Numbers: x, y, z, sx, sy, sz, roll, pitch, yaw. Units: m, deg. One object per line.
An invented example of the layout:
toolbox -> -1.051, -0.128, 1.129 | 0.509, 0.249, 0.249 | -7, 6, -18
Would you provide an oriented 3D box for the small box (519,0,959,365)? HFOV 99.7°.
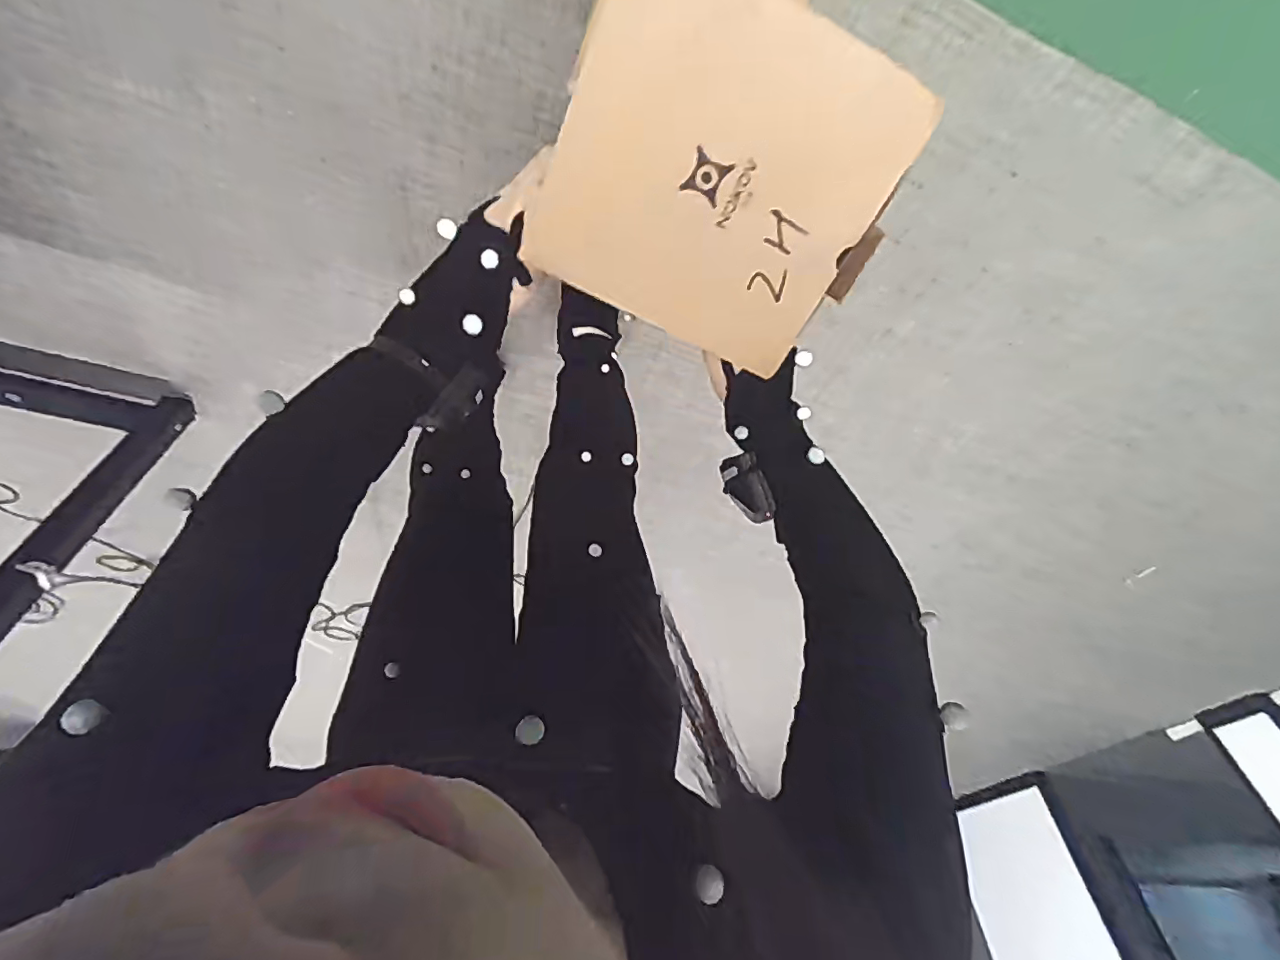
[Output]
small box -> 0.045, -0.207, 0.348 | 0.179, 0.176, 0.168 | 22, 122, -14
